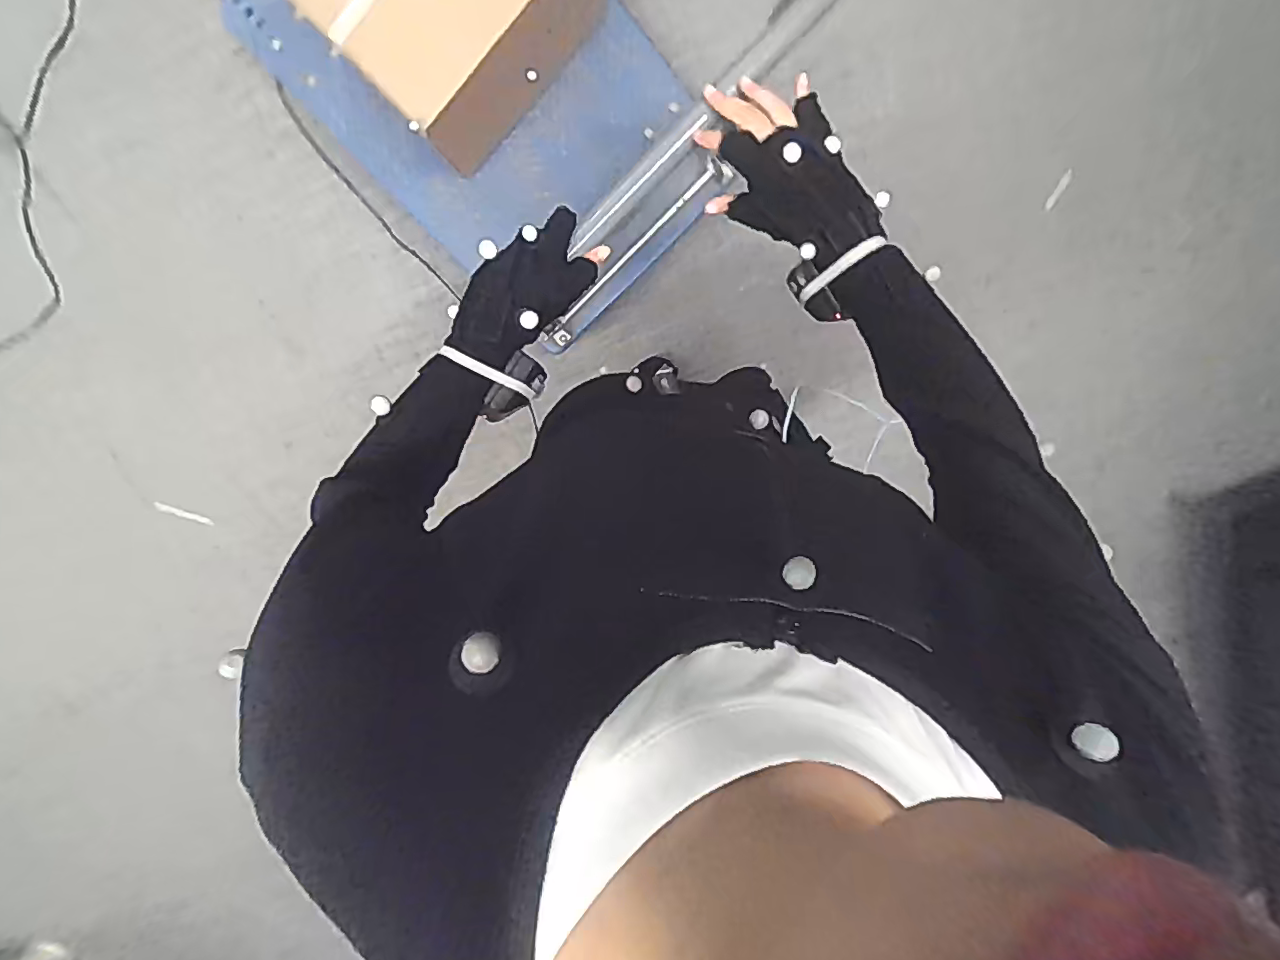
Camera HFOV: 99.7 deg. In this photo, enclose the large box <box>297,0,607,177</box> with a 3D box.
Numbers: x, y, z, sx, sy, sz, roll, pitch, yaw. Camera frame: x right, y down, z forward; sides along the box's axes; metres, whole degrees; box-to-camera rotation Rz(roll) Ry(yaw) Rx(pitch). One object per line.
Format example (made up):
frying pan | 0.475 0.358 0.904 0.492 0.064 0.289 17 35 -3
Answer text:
large box | -0.291 -0.808 0.897 0.320 0.320 0.408 42 100 -14
